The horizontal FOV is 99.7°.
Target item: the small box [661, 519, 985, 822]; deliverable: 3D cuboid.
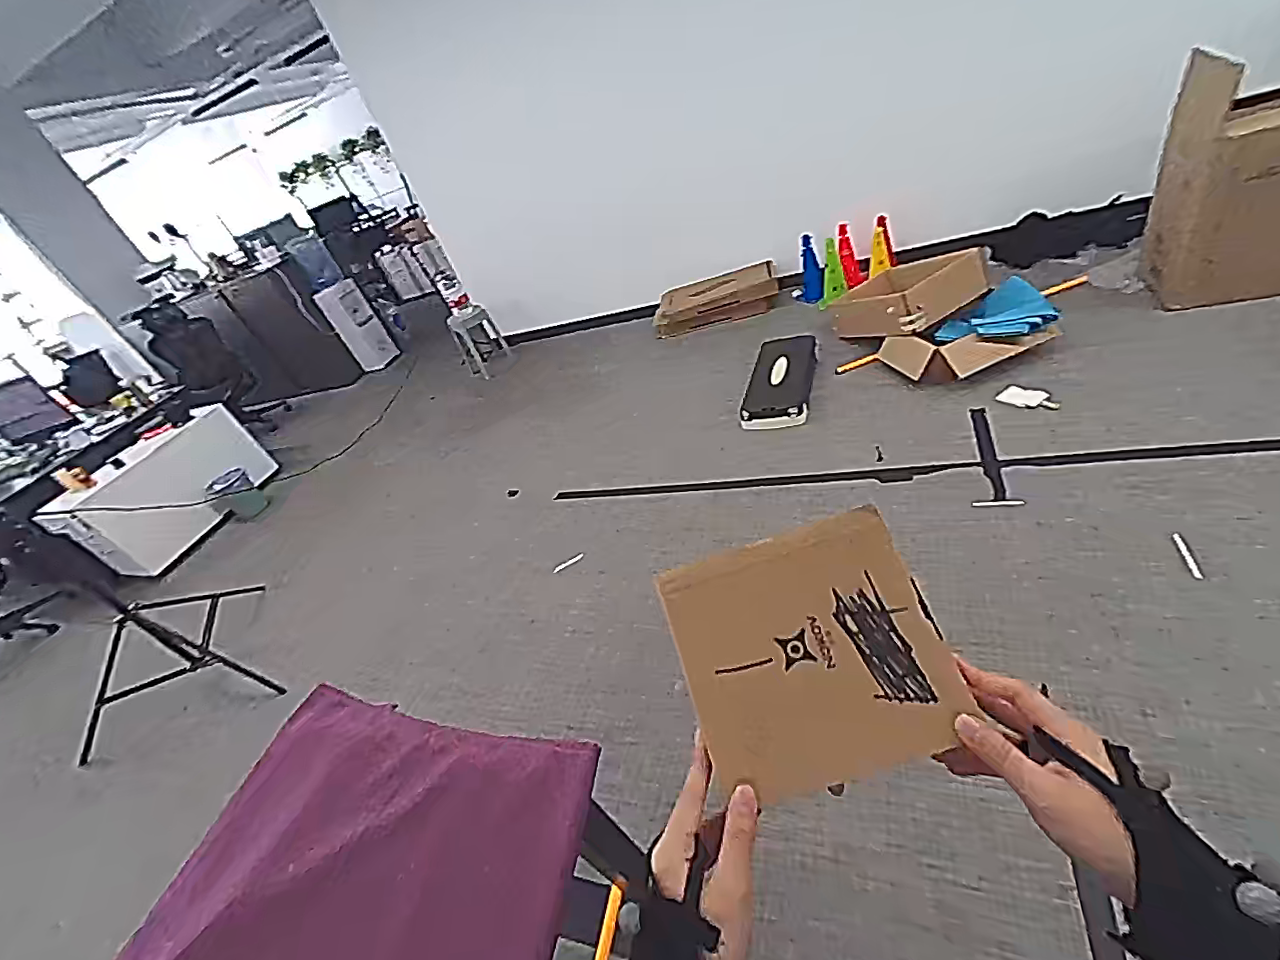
[{"bbox_3d":[0.130,0.156,0.450,0.179,0.176,0.168,-19,64,2],"label":"small box"}]
